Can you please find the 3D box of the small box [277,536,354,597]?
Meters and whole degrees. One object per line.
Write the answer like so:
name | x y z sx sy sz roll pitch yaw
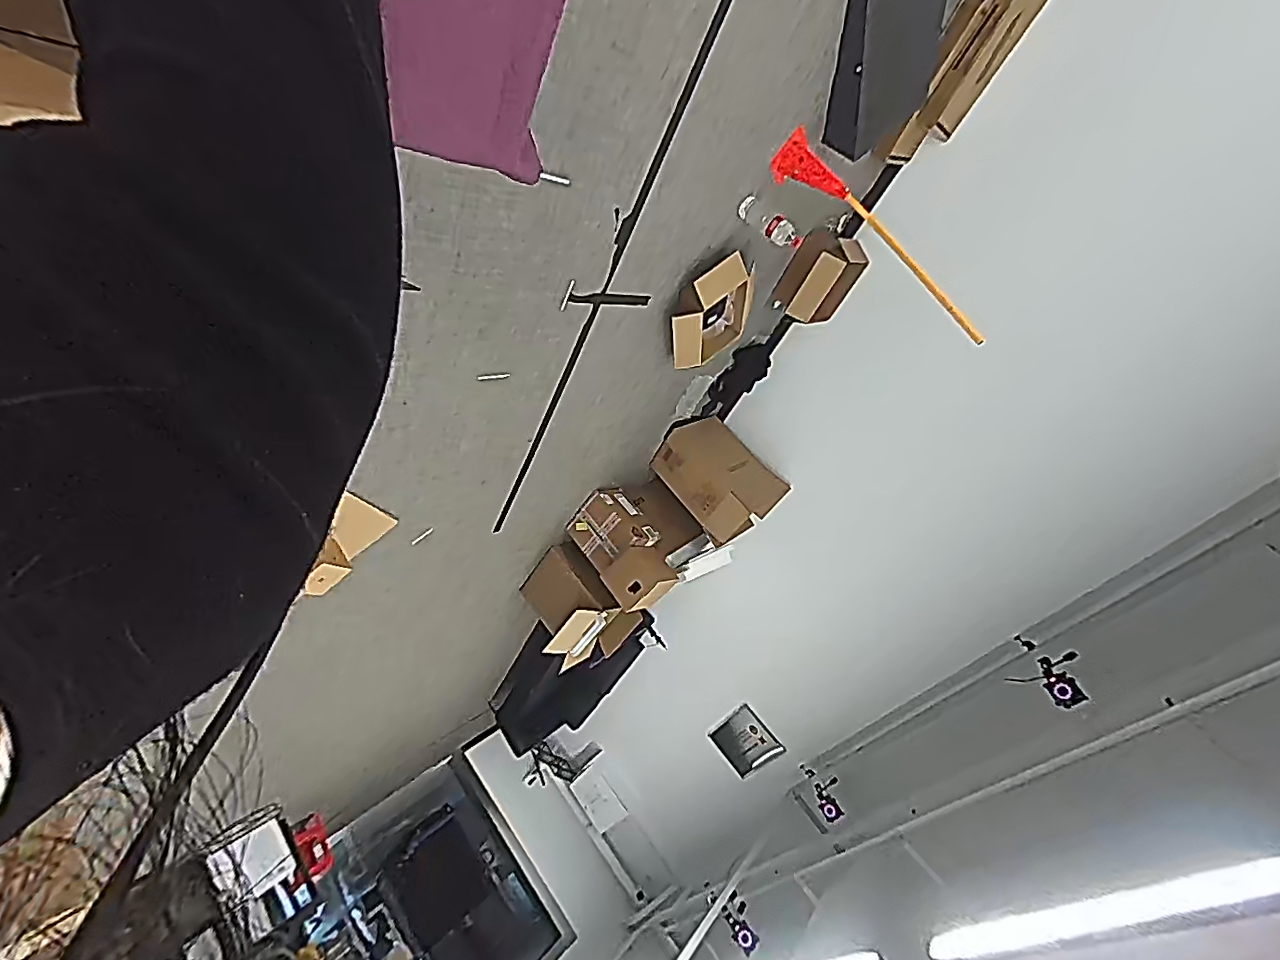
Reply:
small box | -1.301 0.345 2.168 0.168 0.176 0.179 -41 159 -3

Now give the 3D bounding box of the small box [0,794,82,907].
small box | -1.656 0.993 1.461 0.168 0.176 0.179 -17 147 -49

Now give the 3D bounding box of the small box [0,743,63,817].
small box | -1.756 0.873 1.512 0.168 0.176 0.179 -15 147 -52
